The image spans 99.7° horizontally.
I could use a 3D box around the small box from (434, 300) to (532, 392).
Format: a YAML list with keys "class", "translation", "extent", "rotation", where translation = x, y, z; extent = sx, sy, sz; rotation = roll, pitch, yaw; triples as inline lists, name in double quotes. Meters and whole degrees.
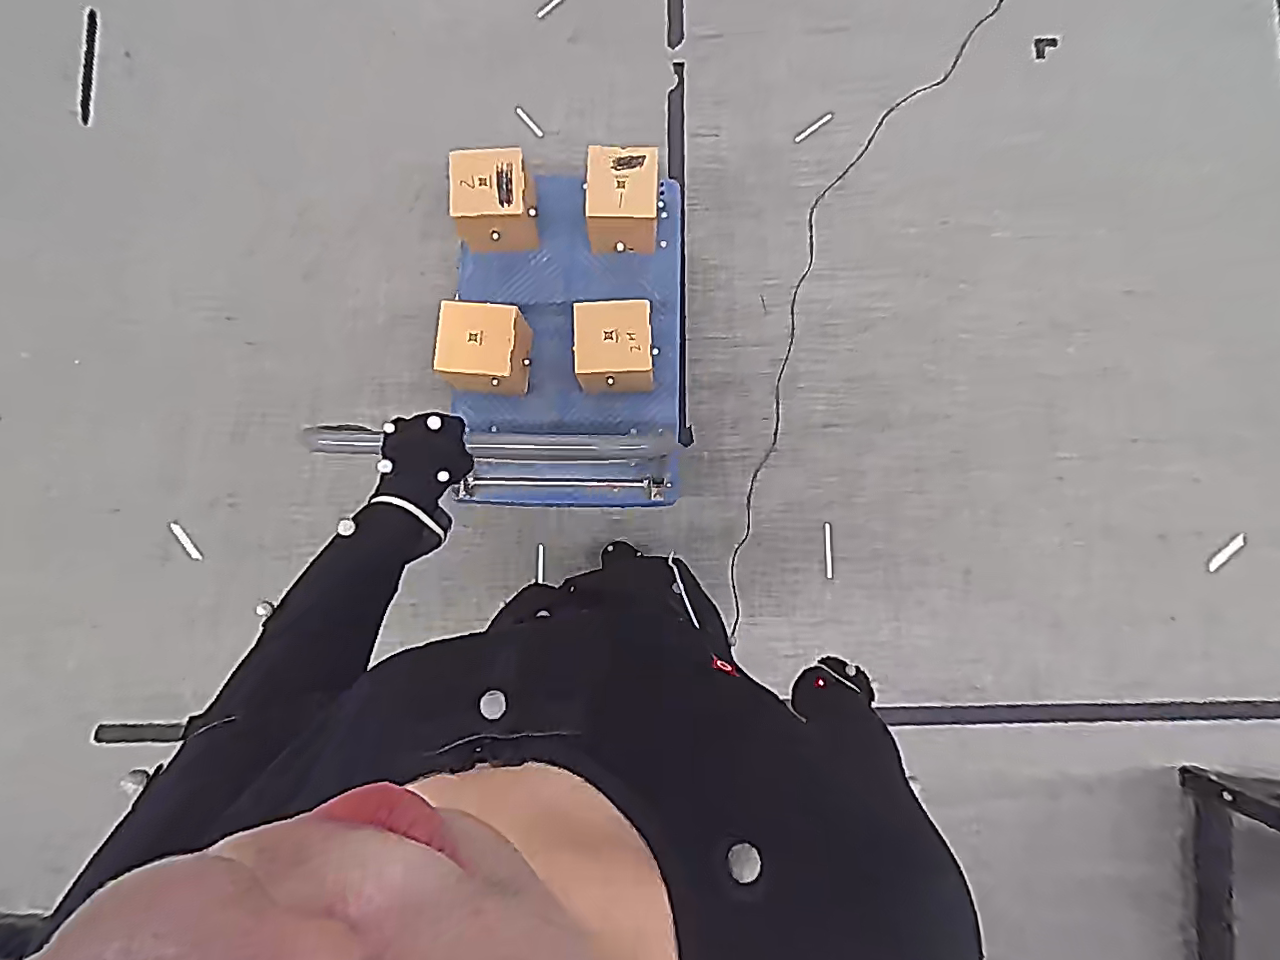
- class: "small box"
  translation: [-0.369, -0.315, 1.297]
  extent: [0.179, 0.176, 0.168]
  rotation: [4, 84, 0]

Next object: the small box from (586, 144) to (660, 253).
- class: "small box"
  translation: [-0.040, -0.686, 1.328]
  extent: [0.168, 0.176, 0.179]
  rotation: [2, 85, 1]

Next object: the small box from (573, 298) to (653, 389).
- class: "small box"
  translation: [-0.059, -0.318, 1.291]
  extent: [0.179, 0.176, 0.168]
  rotation: [-2, 85, 1]
